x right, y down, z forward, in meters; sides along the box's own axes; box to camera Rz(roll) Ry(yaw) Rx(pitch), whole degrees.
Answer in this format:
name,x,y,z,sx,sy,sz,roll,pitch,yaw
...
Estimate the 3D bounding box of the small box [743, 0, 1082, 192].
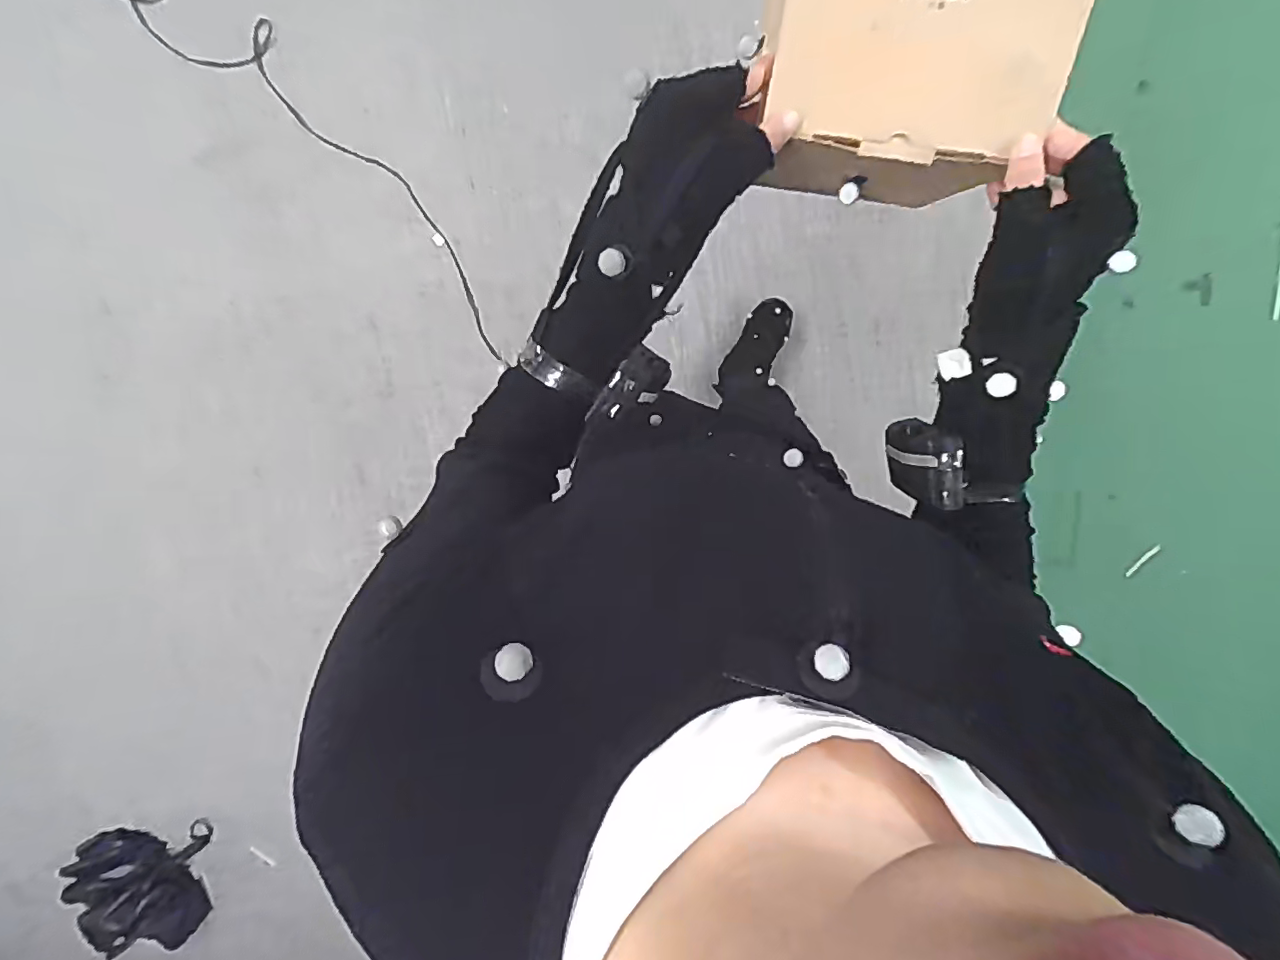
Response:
name,x,y,z,sx,sy,sz,roll,pitch,yaw
small box,0.171,-0.313,0.374,0.168,0.176,0.179,8,111,1
